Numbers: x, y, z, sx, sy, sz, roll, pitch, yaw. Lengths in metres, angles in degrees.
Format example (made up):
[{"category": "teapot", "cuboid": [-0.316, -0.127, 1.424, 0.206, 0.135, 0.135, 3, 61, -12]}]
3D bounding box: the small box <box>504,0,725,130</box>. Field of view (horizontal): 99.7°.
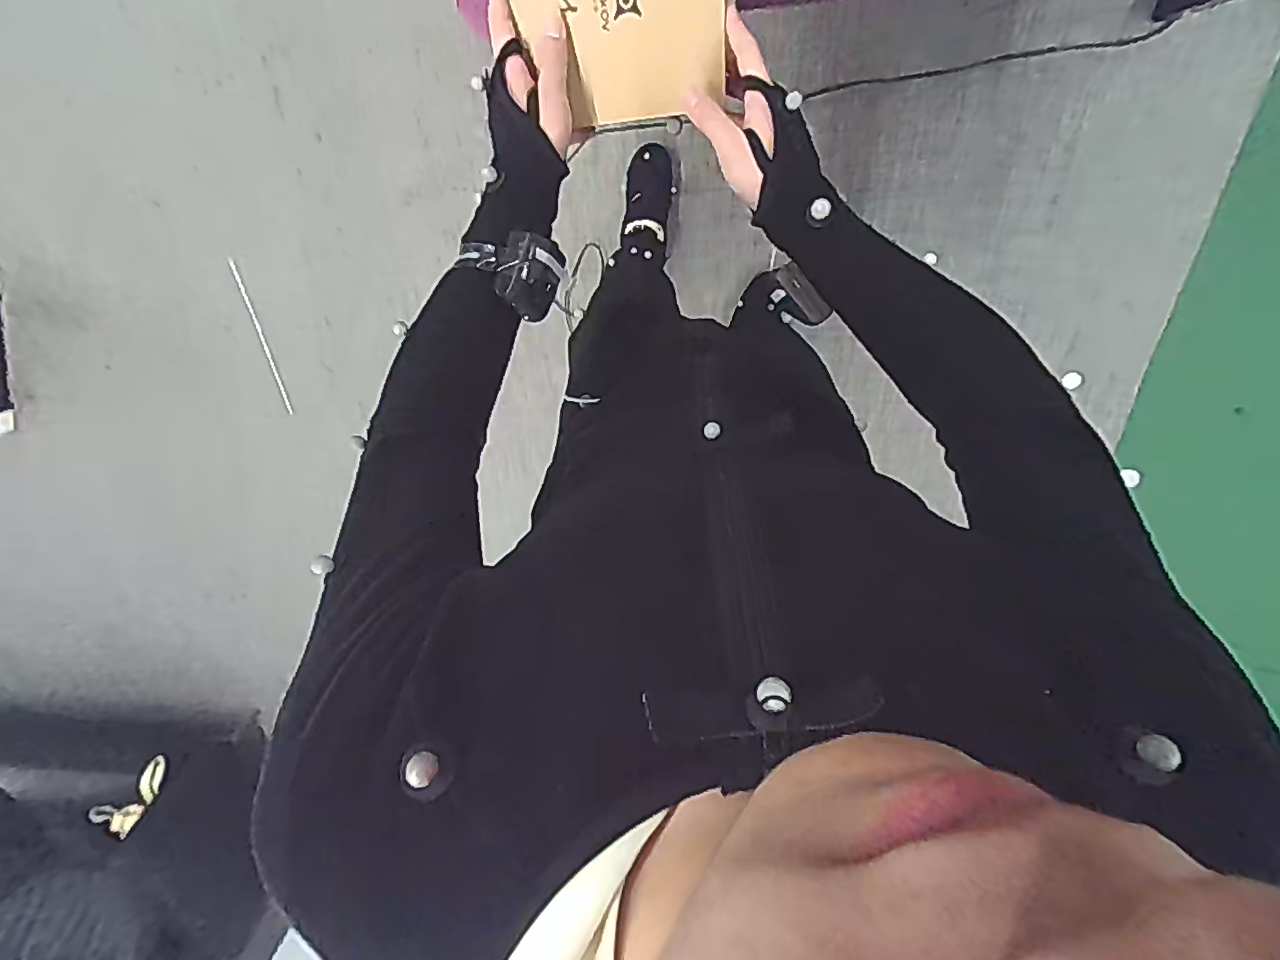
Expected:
[{"category": "small box", "cuboid": [-0.018, -0.430, 0.490, 0.179, 0.176, 0.168, -3, 127, 7]}]
